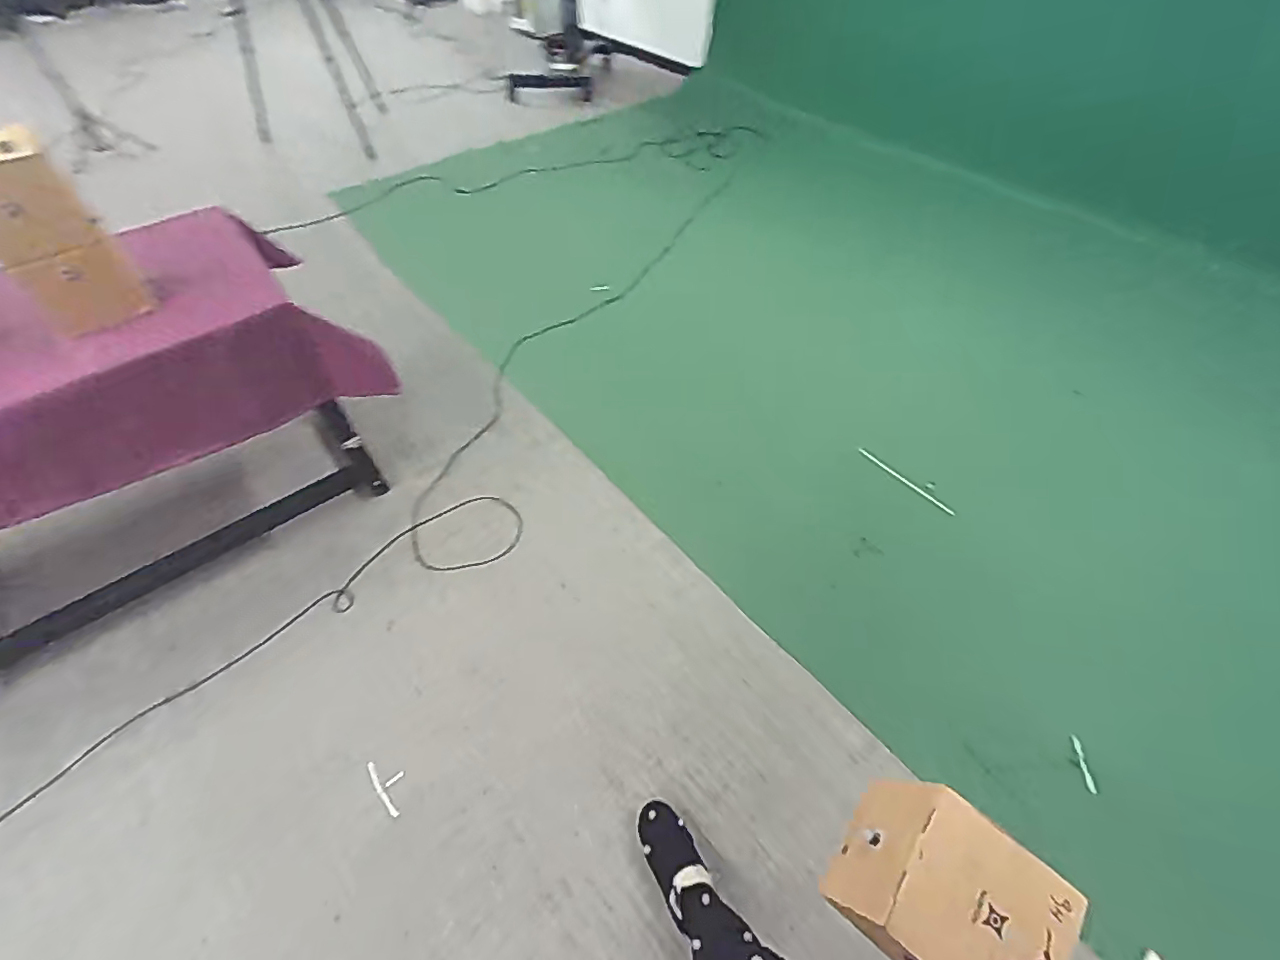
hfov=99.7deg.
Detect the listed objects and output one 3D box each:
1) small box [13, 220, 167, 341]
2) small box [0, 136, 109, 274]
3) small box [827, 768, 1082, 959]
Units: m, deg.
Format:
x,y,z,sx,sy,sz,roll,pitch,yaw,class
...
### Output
x,y,z,sx,sy,sz,roll,pitch,yaw,class
-1.204,-0.436,1.190,0.179,0.176,0.168,-32,59,-23,small box
-1.201,-0.537,1.061,0.179,0.176,0.168,-33,60,-22,small box
0.355,0.475,0.641,0.179,0.176,0.168,37,65,13,small box
